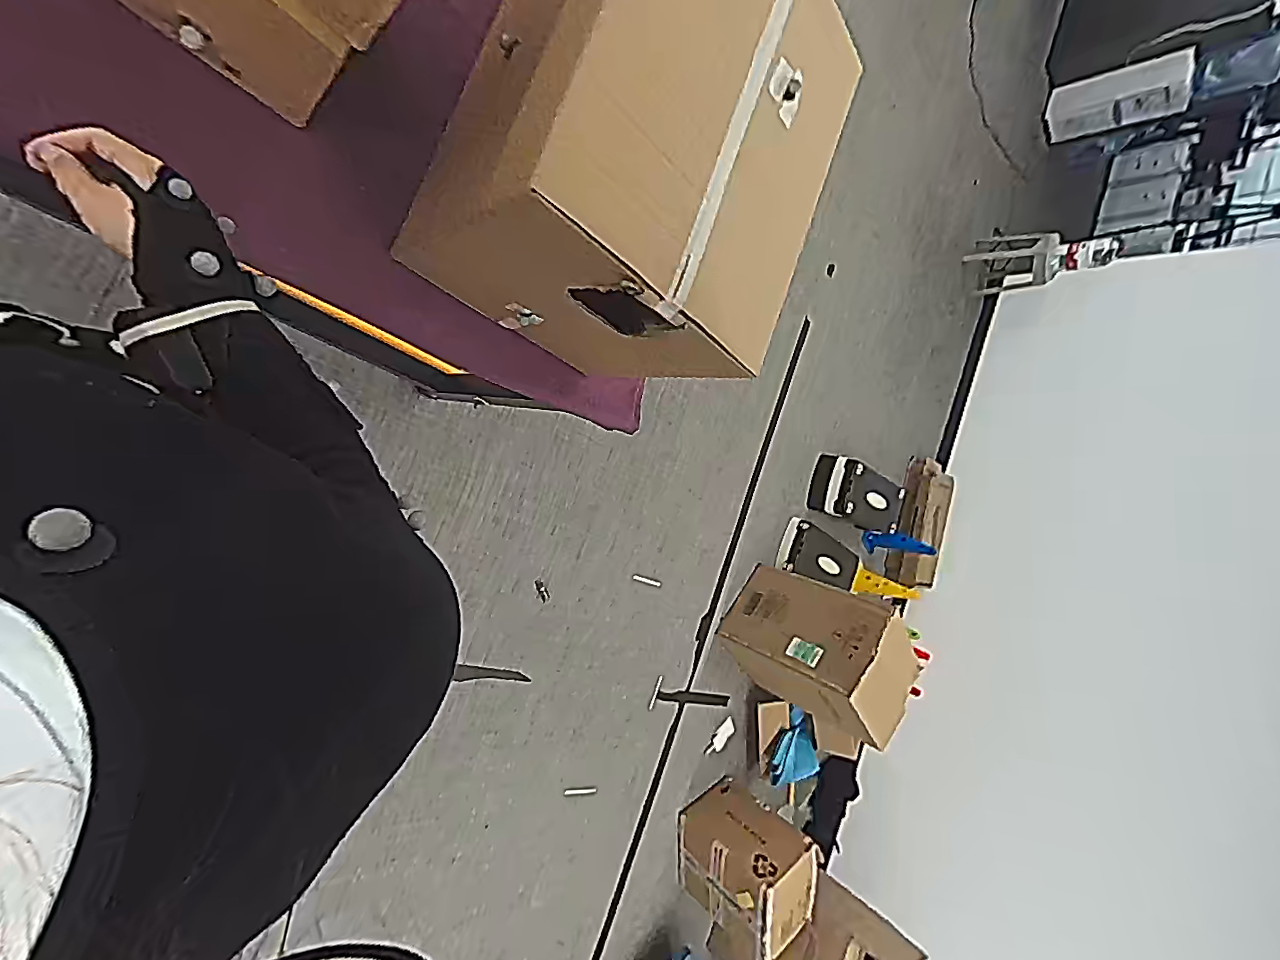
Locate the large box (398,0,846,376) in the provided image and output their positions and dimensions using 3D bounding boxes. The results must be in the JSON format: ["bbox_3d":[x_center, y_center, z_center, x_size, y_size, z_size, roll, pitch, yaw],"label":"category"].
[{"bbox_3d":[-0.019,-0.365,0.625,0.320,0.320,0.408,26,80,-43],"label":"large box"}]
